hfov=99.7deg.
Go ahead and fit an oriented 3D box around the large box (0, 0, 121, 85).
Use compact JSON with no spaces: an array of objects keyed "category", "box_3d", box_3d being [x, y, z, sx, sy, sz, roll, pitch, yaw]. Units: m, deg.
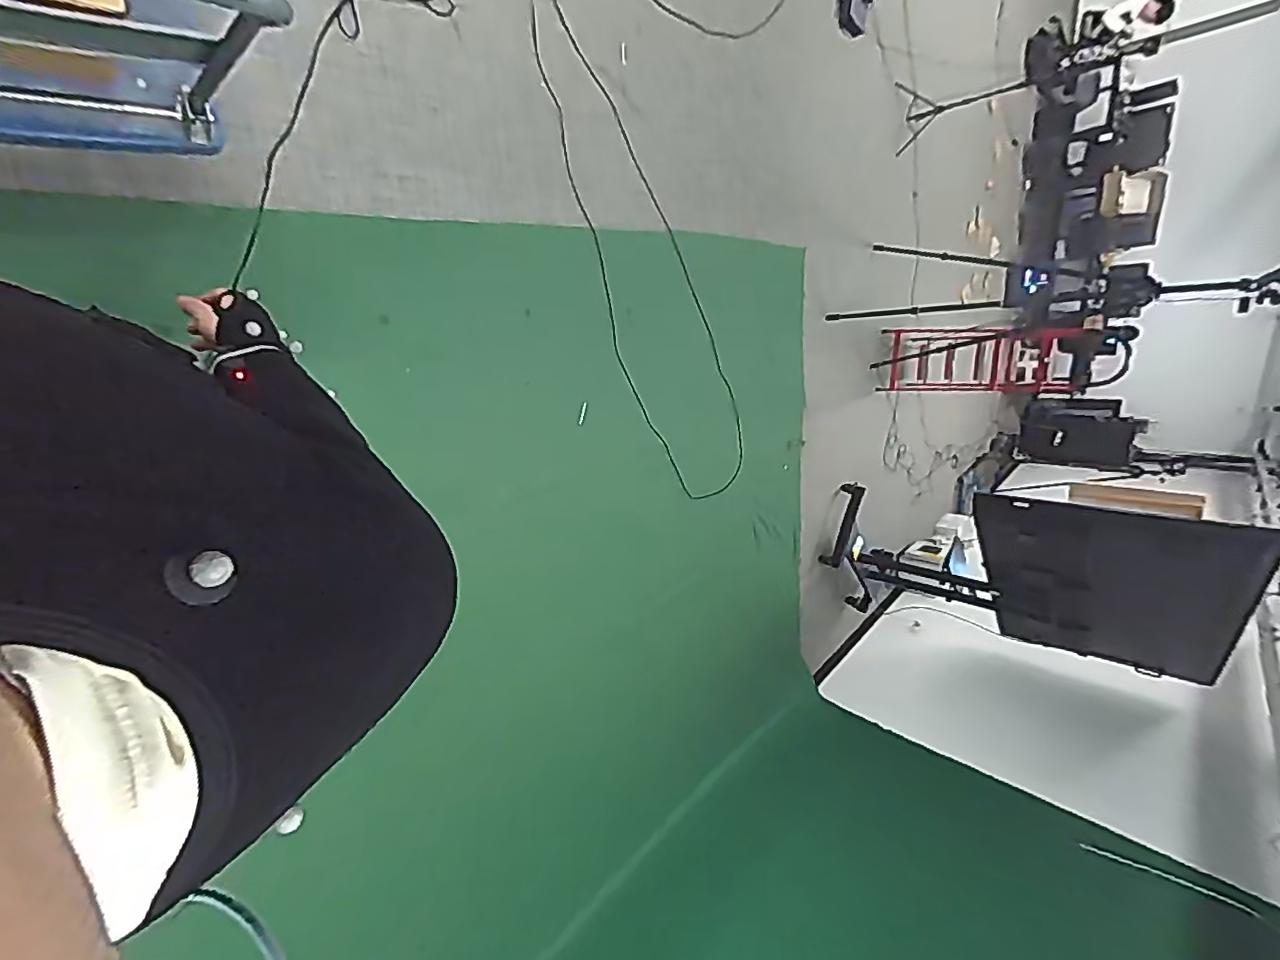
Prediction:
[{"category":"large box","box_3d":[-1.005,-0.859,0.753,0.320,0.320,0.408,-21,112,-42]}]
